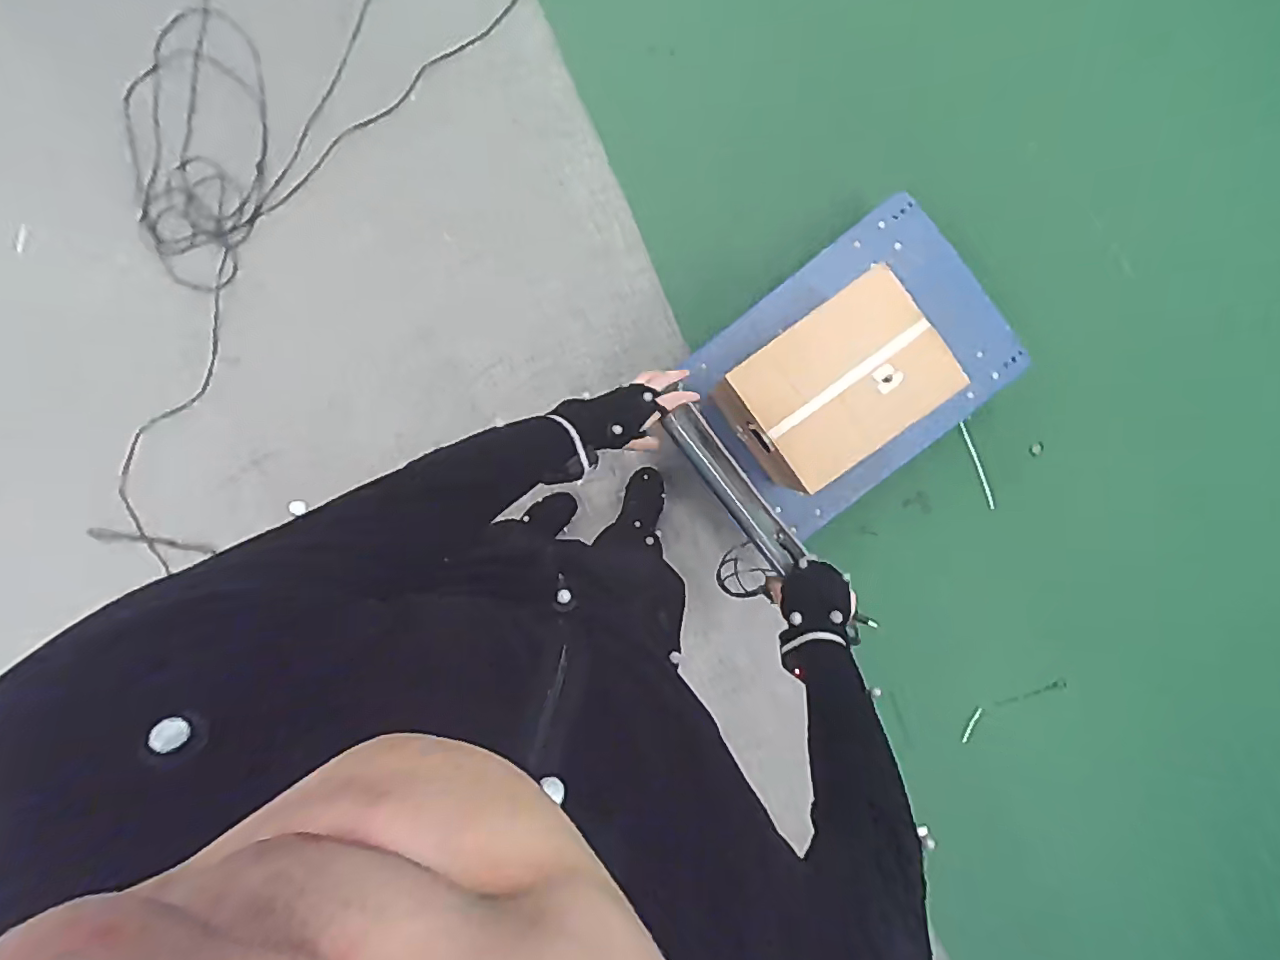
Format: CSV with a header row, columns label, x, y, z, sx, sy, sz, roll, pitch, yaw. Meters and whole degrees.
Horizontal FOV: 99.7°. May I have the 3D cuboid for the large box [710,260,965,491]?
label,x,y,z,sx,sy,sz,roll,pitch,yaw
large box,0.423,-0.217,1.260,0.408,0.320,0.320,-35,93,2
